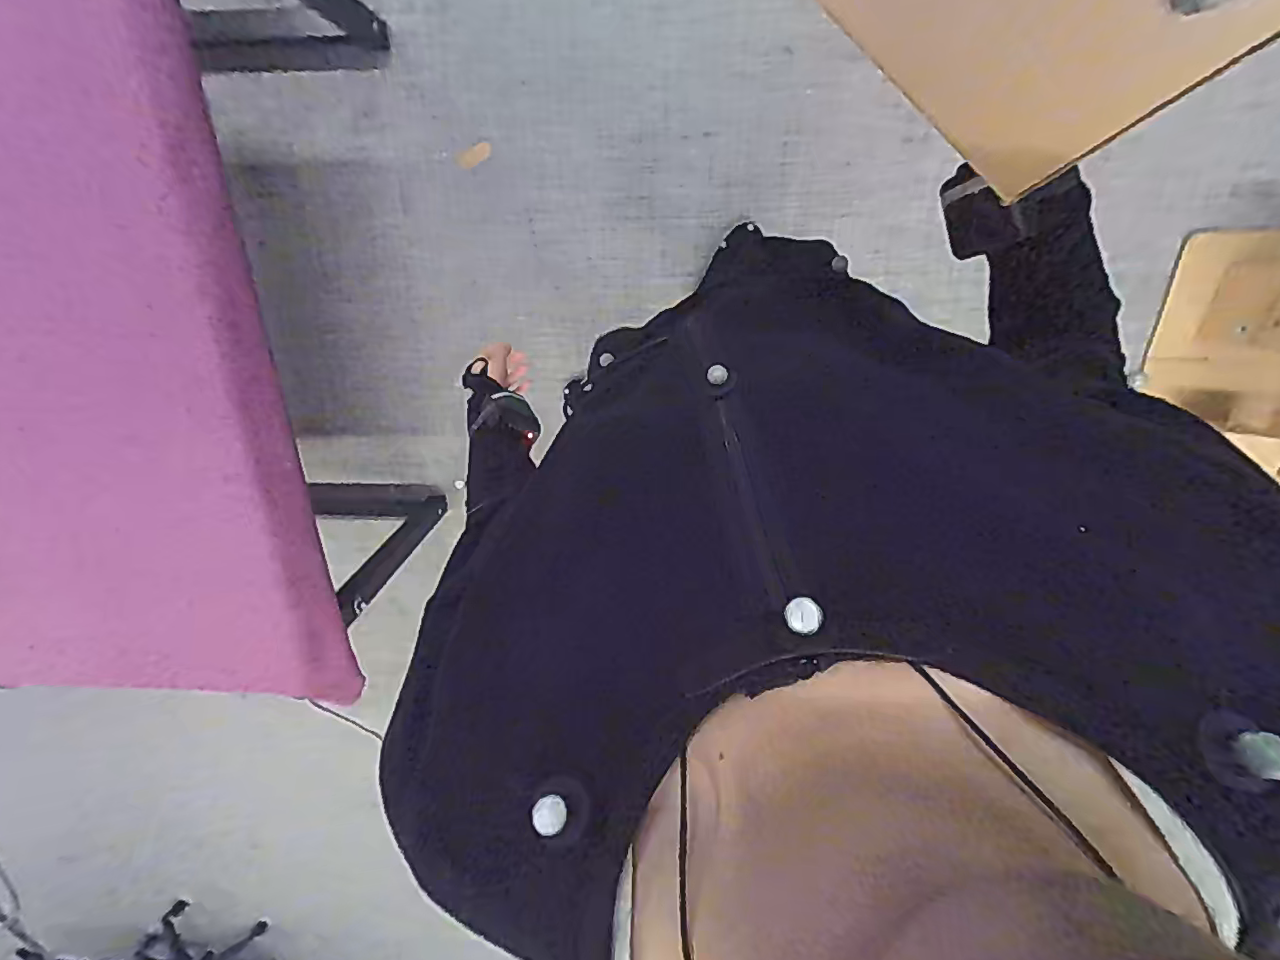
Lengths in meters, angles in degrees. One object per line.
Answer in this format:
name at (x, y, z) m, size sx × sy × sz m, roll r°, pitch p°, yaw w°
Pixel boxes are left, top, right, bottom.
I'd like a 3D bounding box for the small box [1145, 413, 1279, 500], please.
small box at (1.454, -0.066, 1.368) m, size 0.179 × 0.176 × 0.168 m, roll 6°, pitch 113°, yaw -1°
